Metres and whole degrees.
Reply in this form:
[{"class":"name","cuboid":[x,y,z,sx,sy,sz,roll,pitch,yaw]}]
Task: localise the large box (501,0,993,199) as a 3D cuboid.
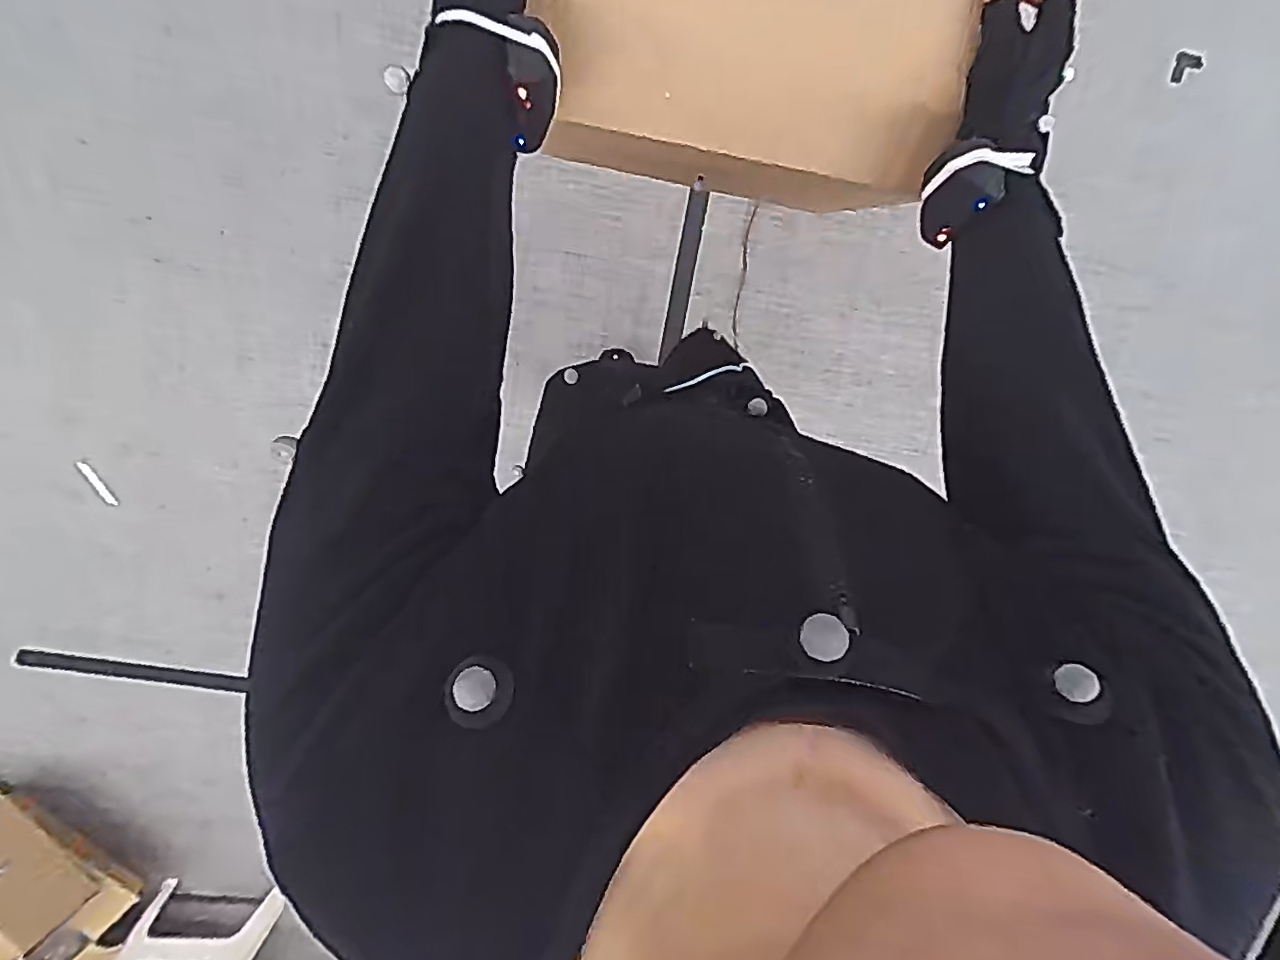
[{"class":"large box","cuboid":[0.097,-0.498,0.557,0.408,0.320,0.320,9,113,-6]}]
